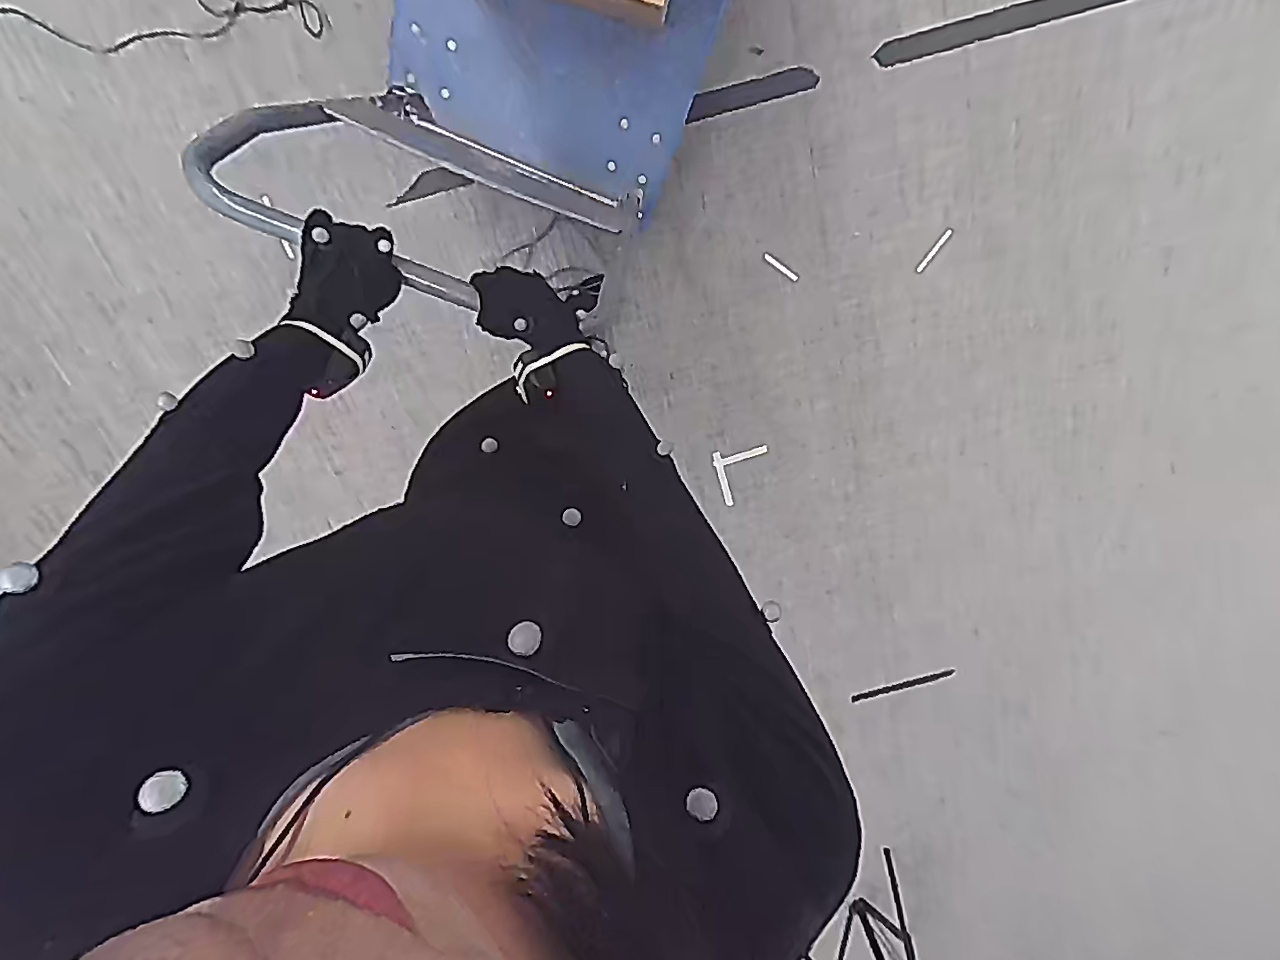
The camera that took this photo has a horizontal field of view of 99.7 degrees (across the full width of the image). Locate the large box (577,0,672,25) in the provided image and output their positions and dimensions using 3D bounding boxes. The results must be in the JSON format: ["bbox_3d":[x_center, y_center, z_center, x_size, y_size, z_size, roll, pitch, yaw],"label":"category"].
[{"bbox_3d":[-0.112,-0.932,0.789,0.408,0.320,0.320,12,124,-7],"label":"large box"}]
